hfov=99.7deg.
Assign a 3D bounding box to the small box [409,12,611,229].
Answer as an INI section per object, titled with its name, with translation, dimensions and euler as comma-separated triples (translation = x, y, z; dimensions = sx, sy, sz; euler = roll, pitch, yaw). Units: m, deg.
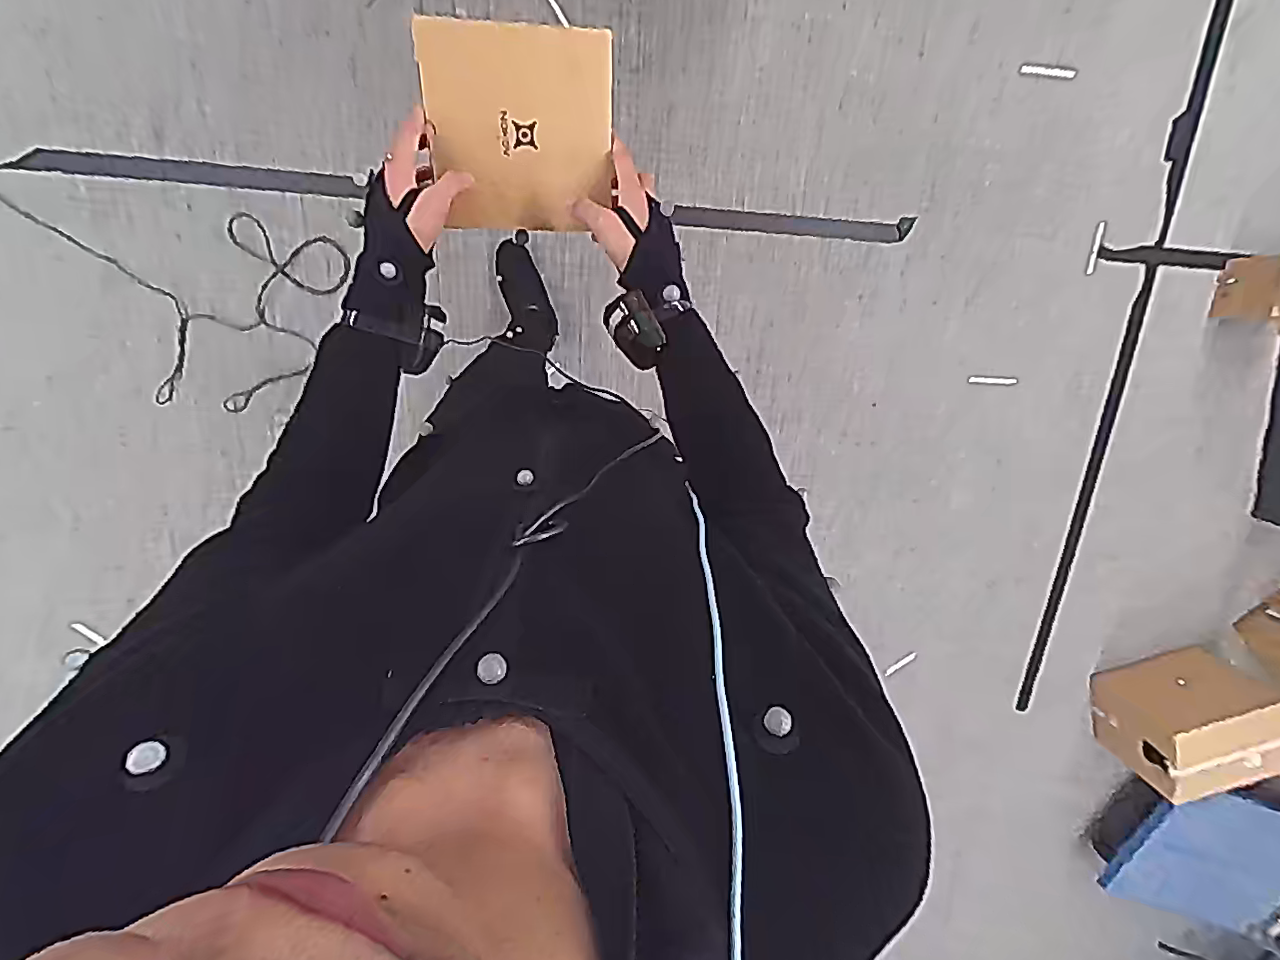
[small box]
translation = -0.123, -0.368, 0.577
dimensions = 0.179, 0.176, 0.168
euler = -1, 119, -5
